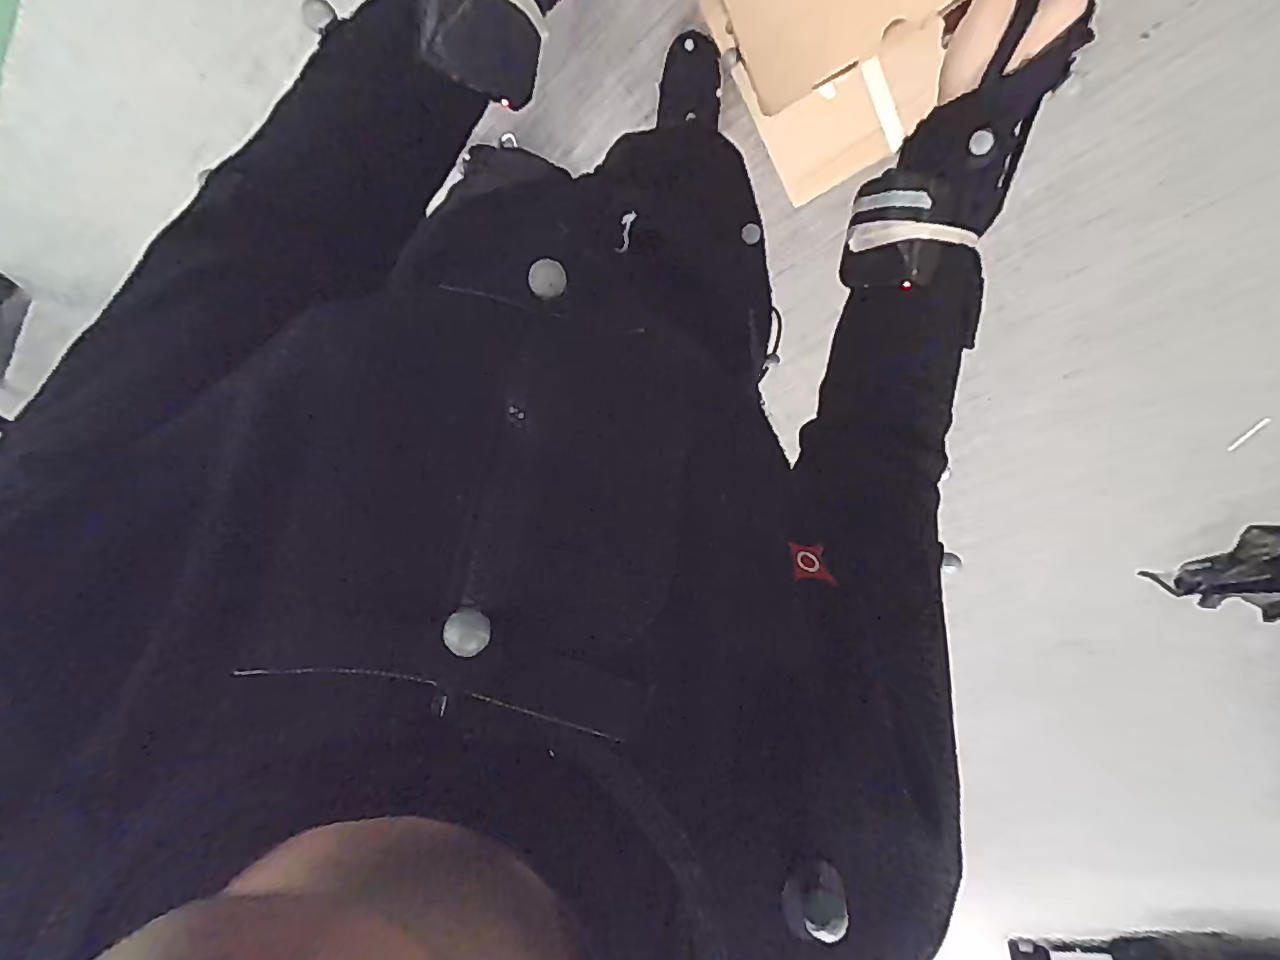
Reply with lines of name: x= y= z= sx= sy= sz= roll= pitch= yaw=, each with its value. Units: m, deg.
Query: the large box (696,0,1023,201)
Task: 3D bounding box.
large box: x=0.275 y=-0.711 z=0.774 sx=0.320 sy=0.320 sz=0.408 roll=-22 pitch=125 yaw=30

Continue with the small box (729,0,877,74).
small box: x=0.148 y=-0.486 z=0.449 sx=0.179 sy=0.176 sz=0.168 roll=-20 pitch=127 yaw=27
